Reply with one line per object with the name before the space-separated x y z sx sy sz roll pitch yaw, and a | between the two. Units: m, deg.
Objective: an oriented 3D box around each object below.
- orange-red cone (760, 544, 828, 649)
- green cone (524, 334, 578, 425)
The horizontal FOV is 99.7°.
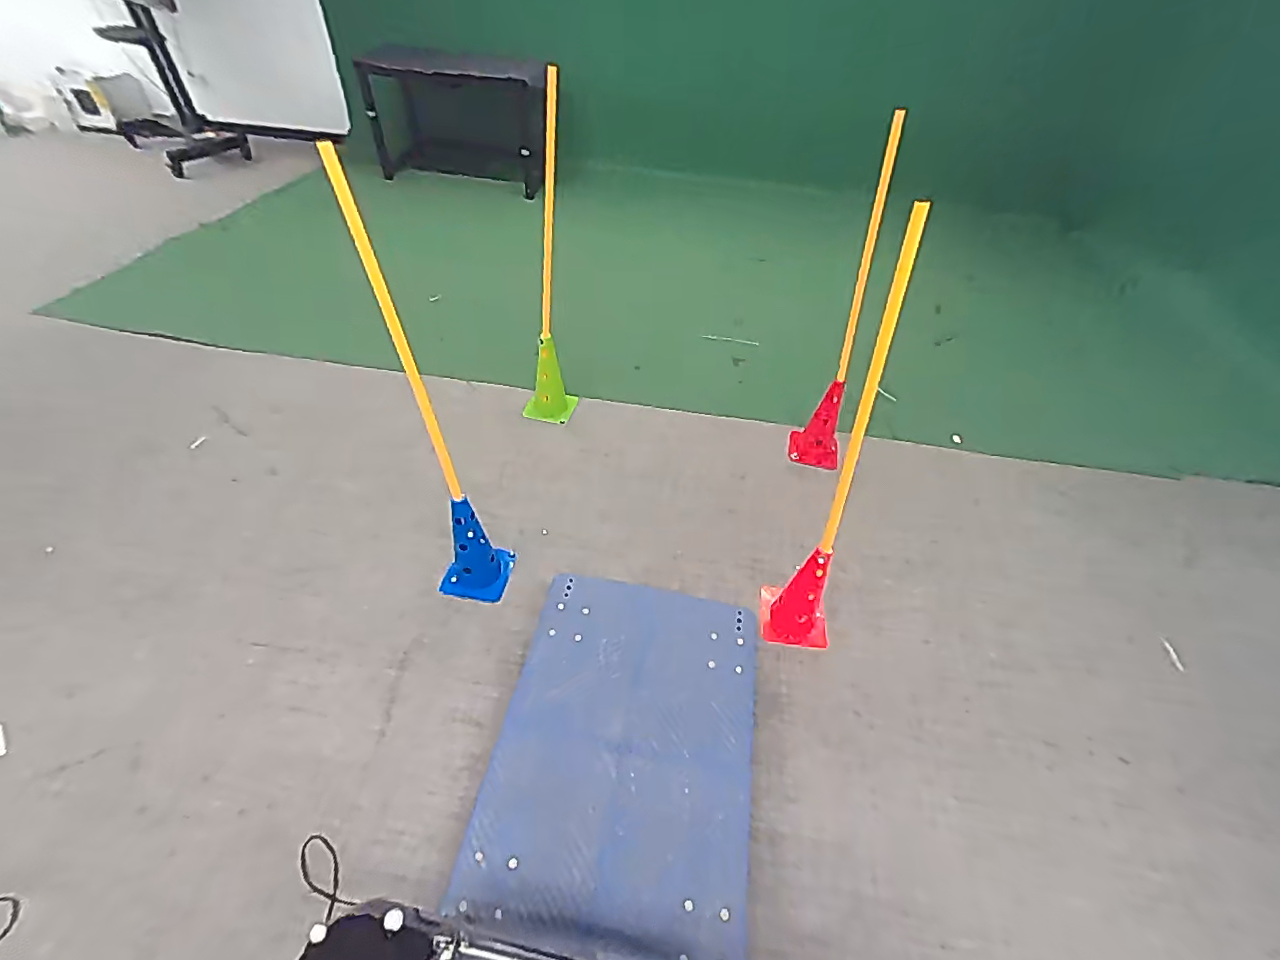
orange-red cone | 0.483 0.314 1.588 0.199 0.360 0.198 7 45 5
green cone | -0.379 -0.436 2.247 0.202 0.368 0.200 11 45 8
